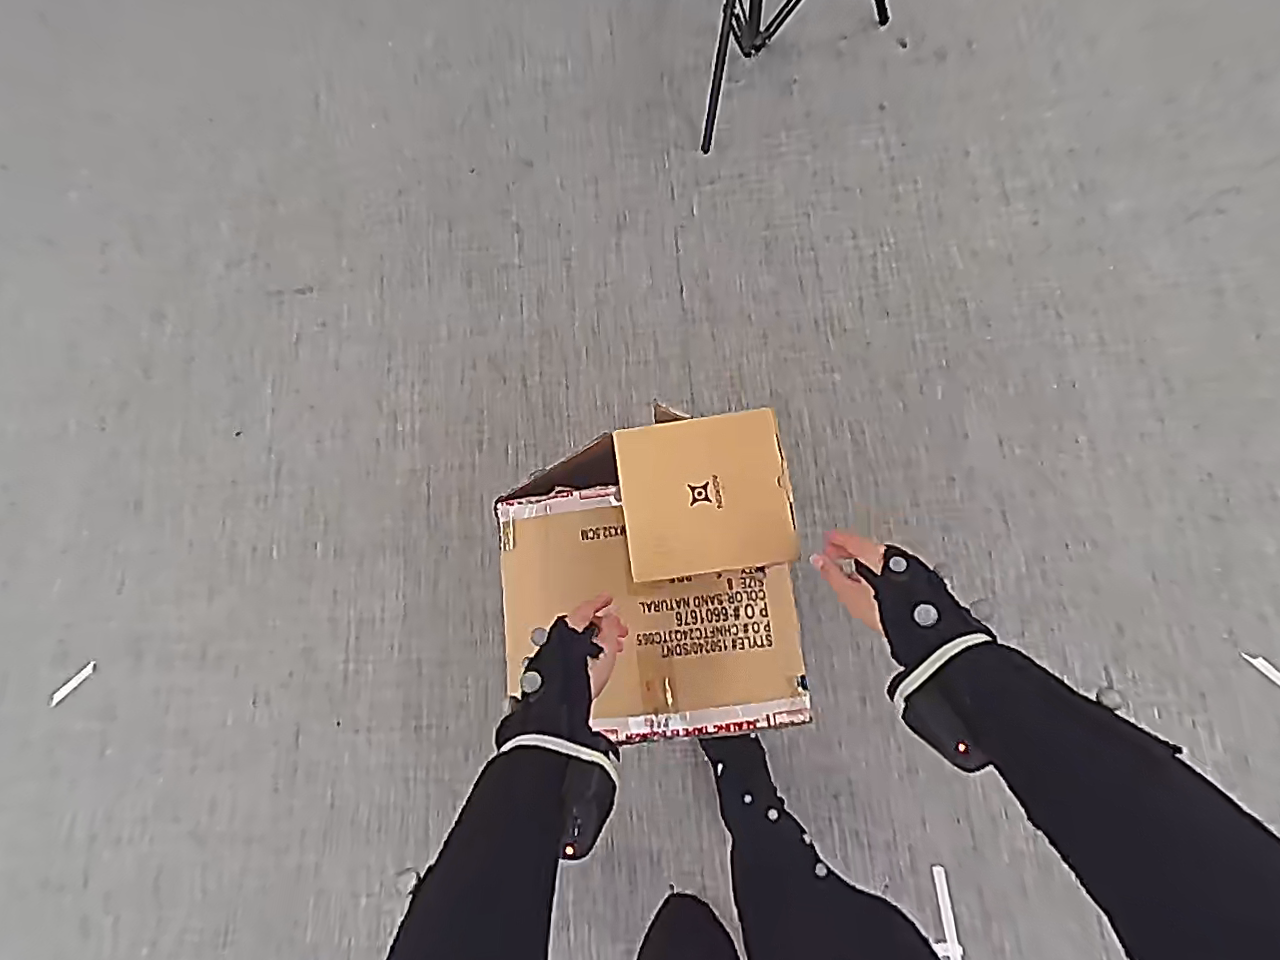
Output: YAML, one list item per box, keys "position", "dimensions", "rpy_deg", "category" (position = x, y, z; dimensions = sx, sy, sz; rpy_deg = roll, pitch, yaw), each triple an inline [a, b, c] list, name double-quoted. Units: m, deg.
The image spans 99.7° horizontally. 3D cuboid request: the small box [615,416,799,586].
- position: [0.074, 0.036, 0.648]
  dimensions: [0.179, 0.176, 0.168]
  rpy_deg: [-9, 80, 2]
  category: "small box"
